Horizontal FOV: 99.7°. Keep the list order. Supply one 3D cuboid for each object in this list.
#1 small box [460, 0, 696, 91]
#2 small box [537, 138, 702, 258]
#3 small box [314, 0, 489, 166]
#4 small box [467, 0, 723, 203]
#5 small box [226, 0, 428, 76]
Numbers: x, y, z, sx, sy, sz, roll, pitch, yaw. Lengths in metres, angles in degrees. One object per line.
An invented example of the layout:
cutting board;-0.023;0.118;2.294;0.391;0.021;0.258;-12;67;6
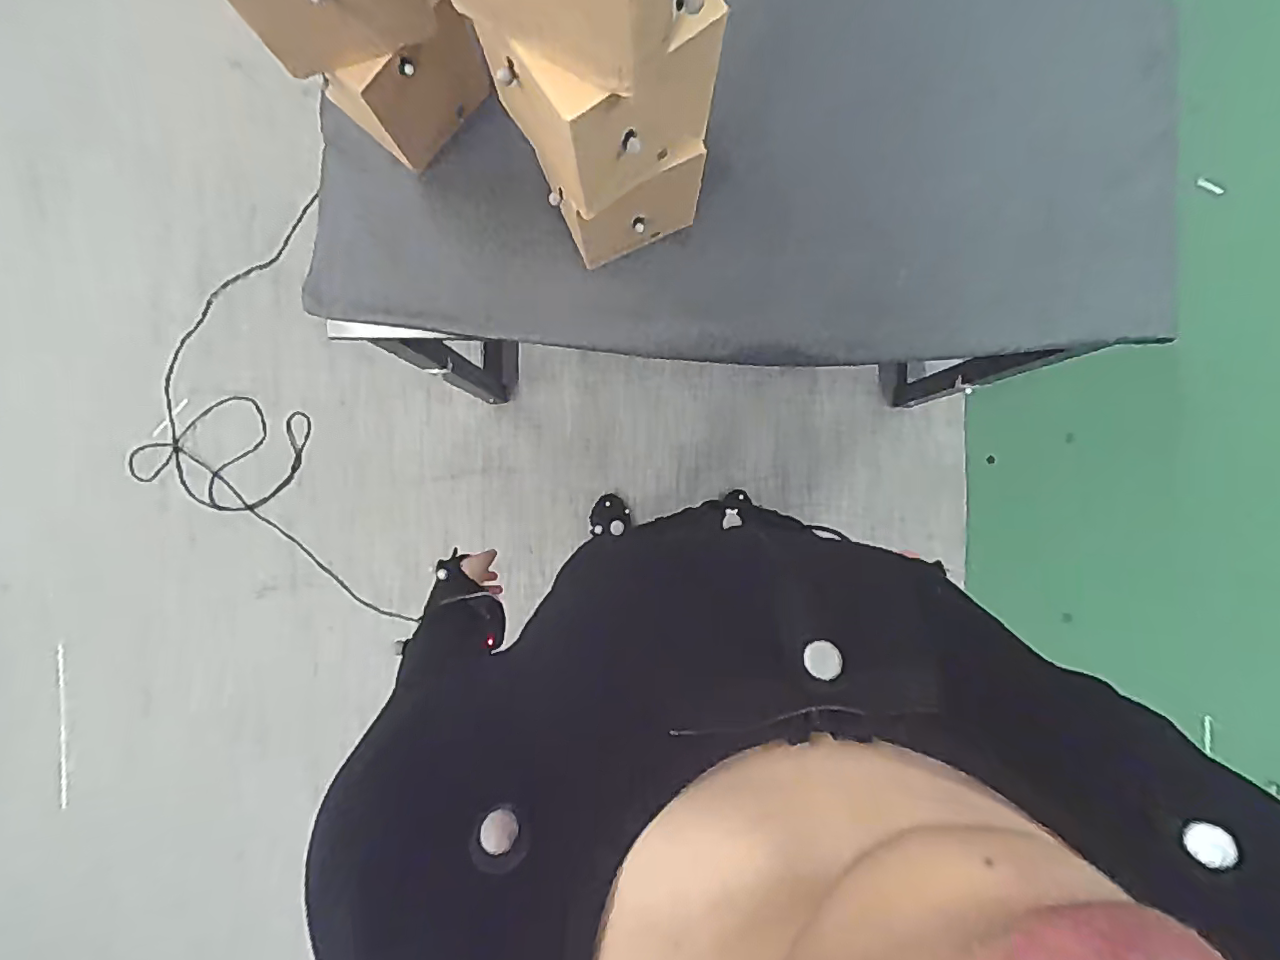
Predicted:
small box;-0.041;-0.419;0.365;0.179;0.176;0.168;29;91;1
small box;-0.034;-0.411;0.689;0.168;0.176;0.179;-24;88;0
small box;-0.329;-0.556;0.695;0.179;0.176;0.168;41;90;1
small box;-0.042;-0.407;0.527;0.168;0.176;0.179;-35;88;0
small box;-0.331;-0.553;0.531;0.179;0.176;0.168;-18;90;1
